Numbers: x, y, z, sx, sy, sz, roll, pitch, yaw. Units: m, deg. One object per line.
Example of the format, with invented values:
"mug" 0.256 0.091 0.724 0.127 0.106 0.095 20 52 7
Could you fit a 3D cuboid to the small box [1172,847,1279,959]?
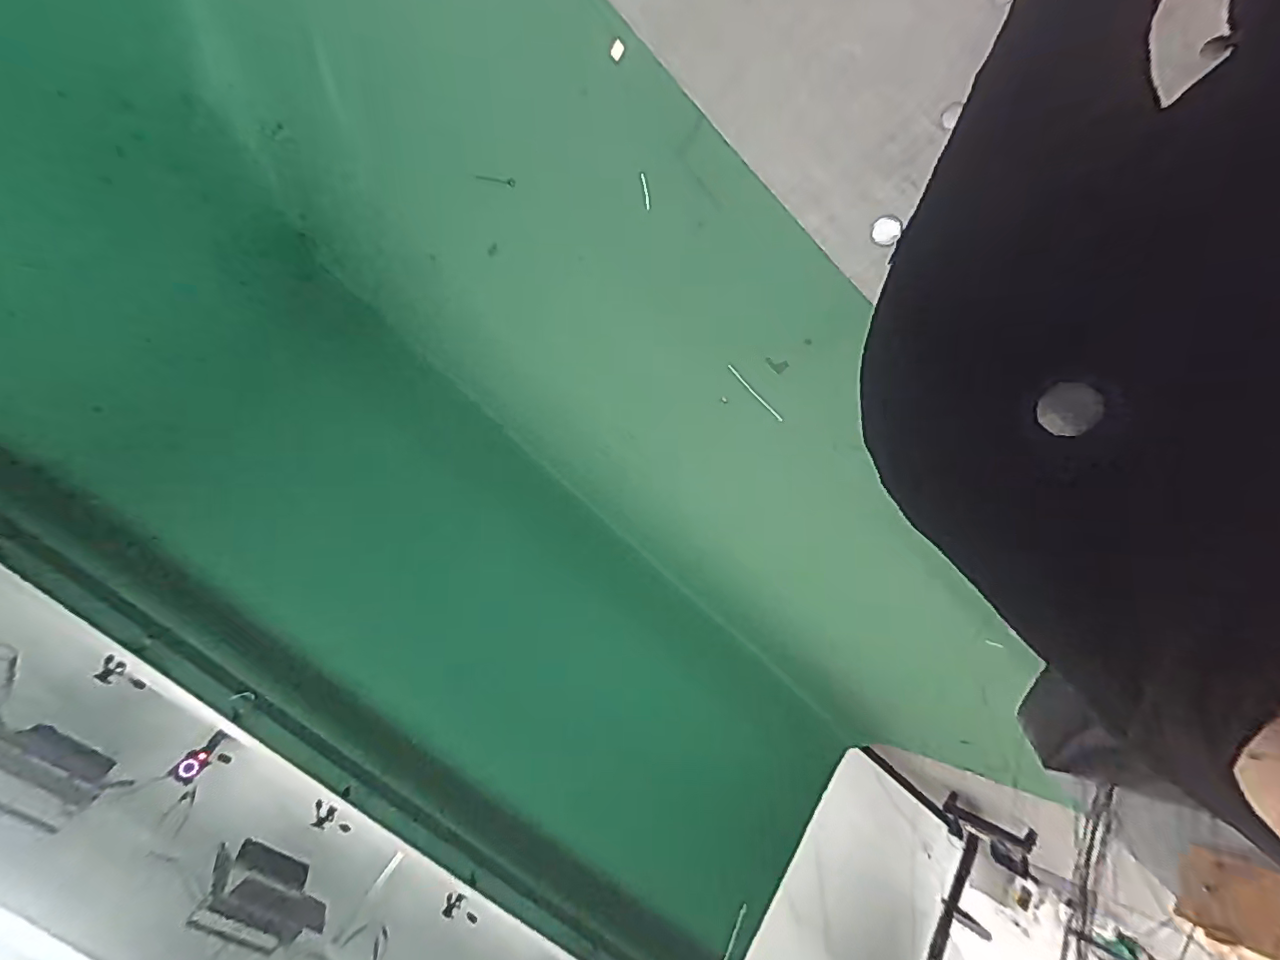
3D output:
"small box" 1.271 0.915 1.125 0.179 0.176 0.168 41 159 -9
